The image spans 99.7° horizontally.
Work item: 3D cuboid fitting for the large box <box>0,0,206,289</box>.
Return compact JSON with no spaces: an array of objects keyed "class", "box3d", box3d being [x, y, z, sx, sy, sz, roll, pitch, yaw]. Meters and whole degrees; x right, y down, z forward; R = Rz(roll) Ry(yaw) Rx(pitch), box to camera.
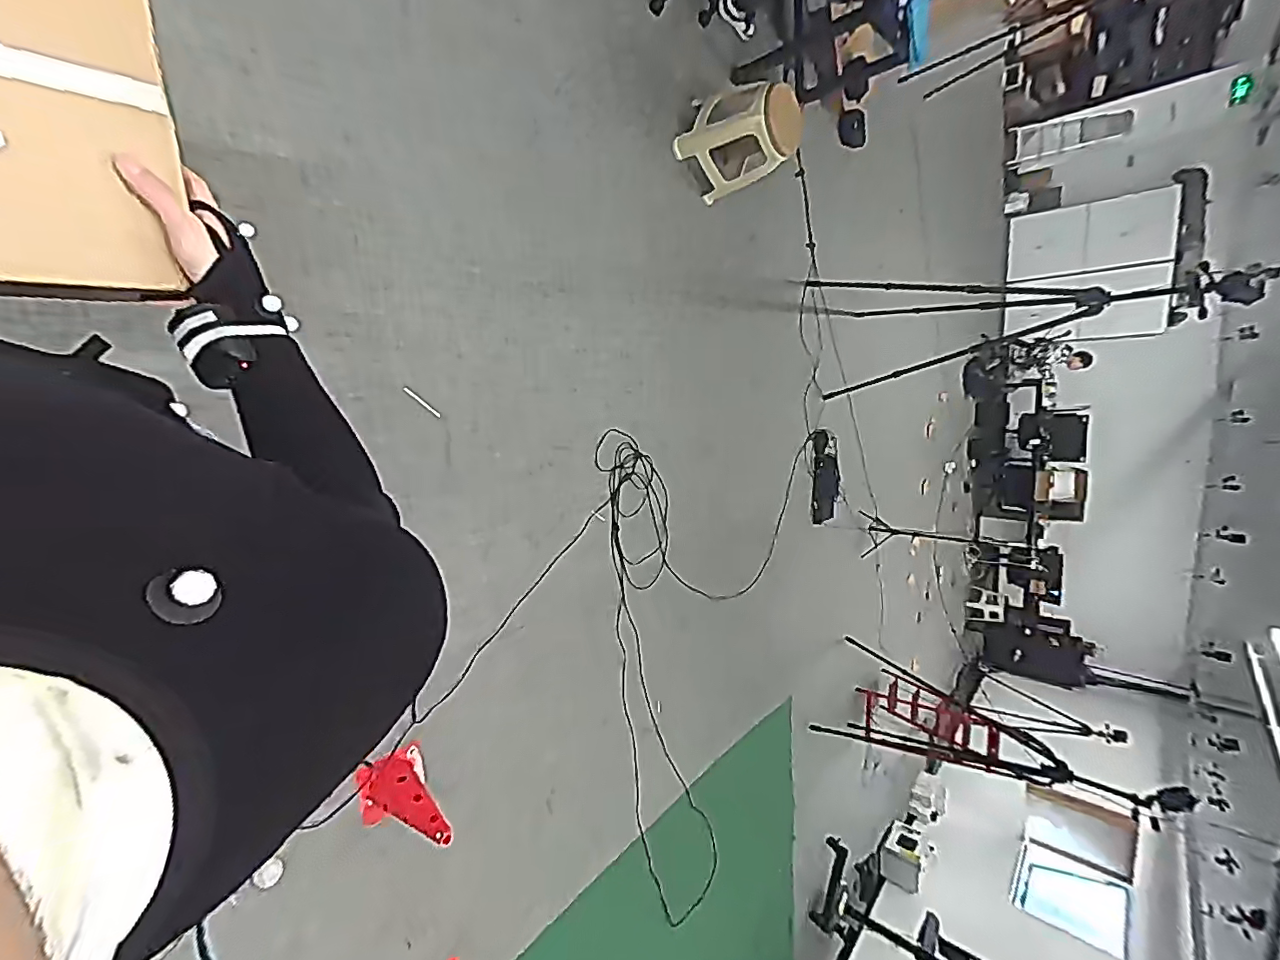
[{"class":"large box","box3d":[-0.662,-0.330,0.435,0.408,0.320,0.320,-16,114,-46]}]
